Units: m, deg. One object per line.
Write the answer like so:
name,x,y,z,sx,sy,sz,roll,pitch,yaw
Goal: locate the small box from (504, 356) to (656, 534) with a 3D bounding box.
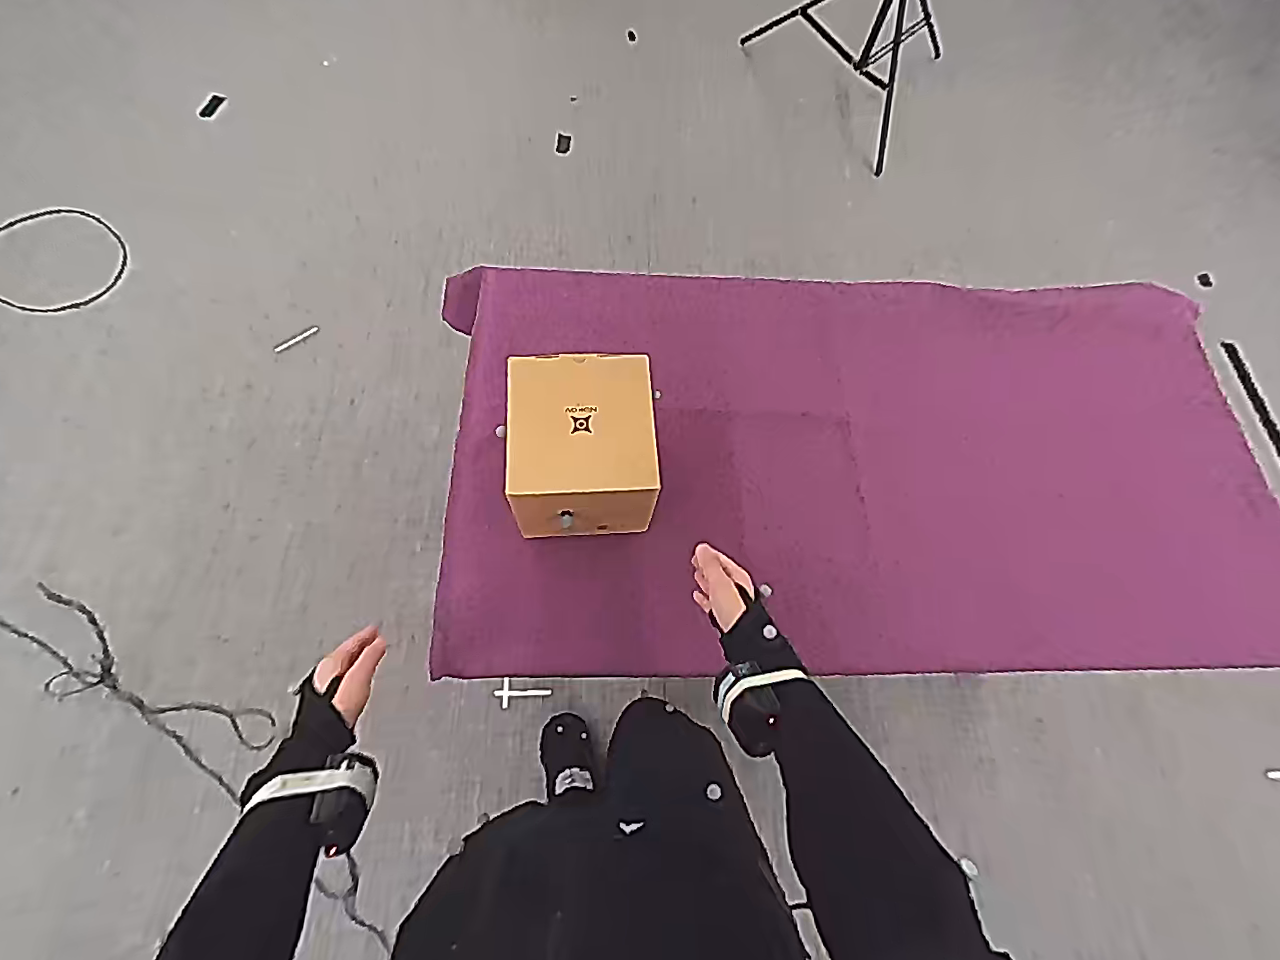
small box,-0.072,-0.034,0.680,0.168,0.176,0.179,-3,67,-5
